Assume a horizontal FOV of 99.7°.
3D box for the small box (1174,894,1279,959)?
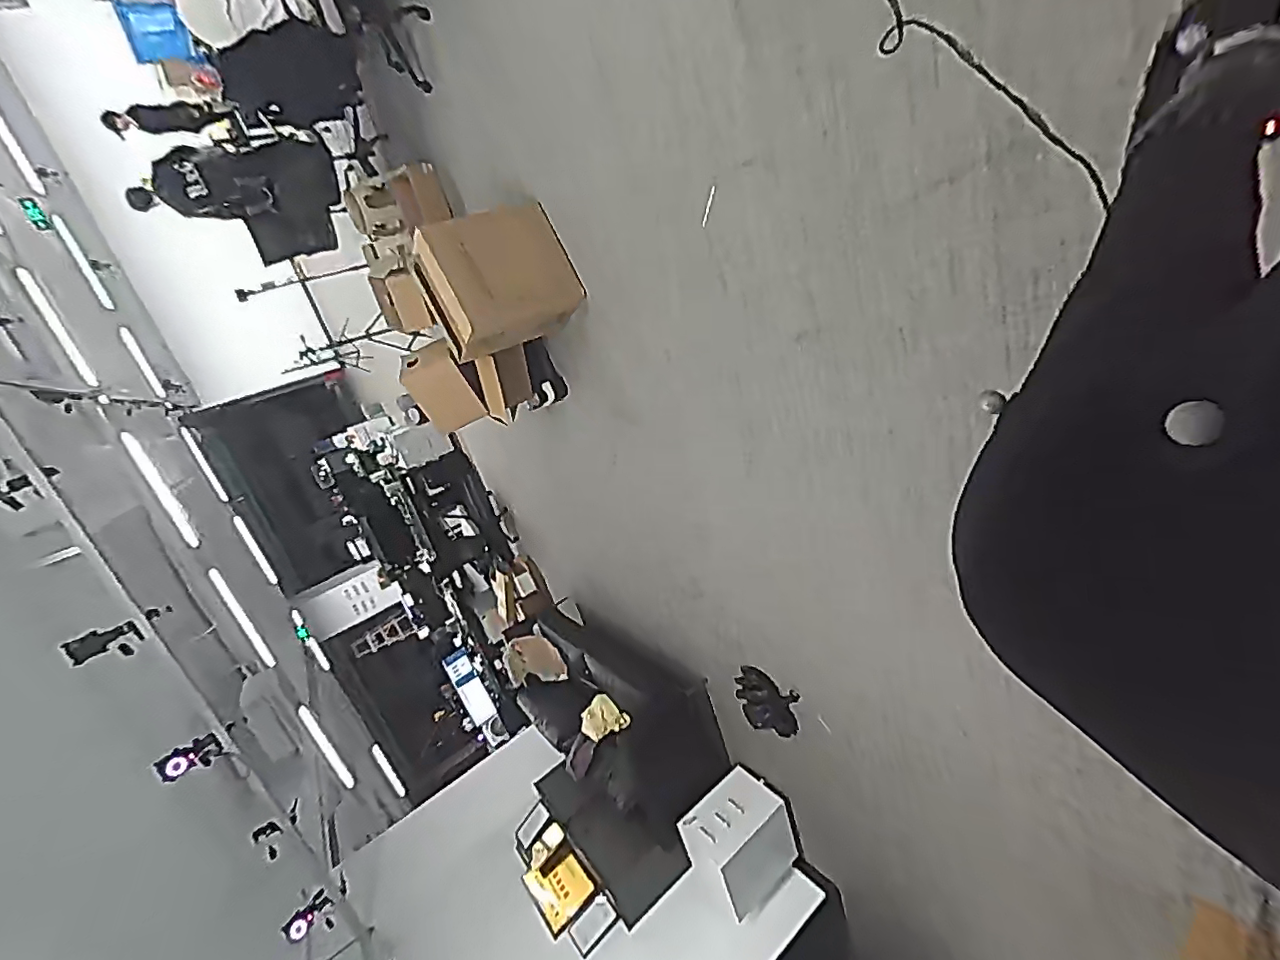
[{"bbox_3d":[1.599,1.284,1.472,0.179,0.176,0.168,8,122,55],"label":"small box"}]
